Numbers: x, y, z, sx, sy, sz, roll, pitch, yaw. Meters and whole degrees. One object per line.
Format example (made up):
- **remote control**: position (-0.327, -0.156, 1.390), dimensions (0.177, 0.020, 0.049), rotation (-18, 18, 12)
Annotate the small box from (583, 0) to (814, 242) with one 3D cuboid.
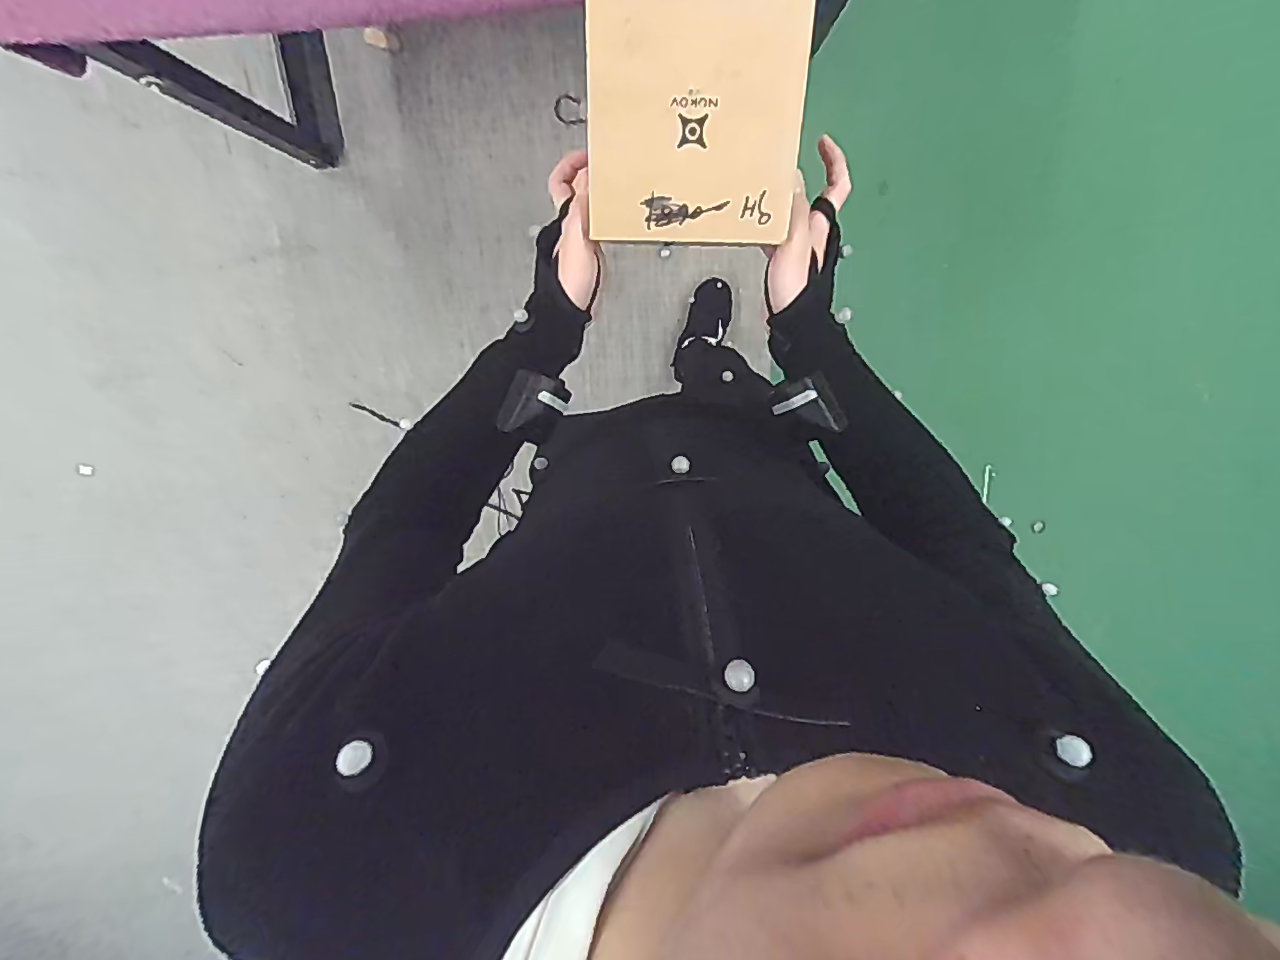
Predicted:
- **small box**: position (0.039, -0.310, 0.474), dimensions (0.168, 0.176, 0.179), rotation (1, 113, 1)
